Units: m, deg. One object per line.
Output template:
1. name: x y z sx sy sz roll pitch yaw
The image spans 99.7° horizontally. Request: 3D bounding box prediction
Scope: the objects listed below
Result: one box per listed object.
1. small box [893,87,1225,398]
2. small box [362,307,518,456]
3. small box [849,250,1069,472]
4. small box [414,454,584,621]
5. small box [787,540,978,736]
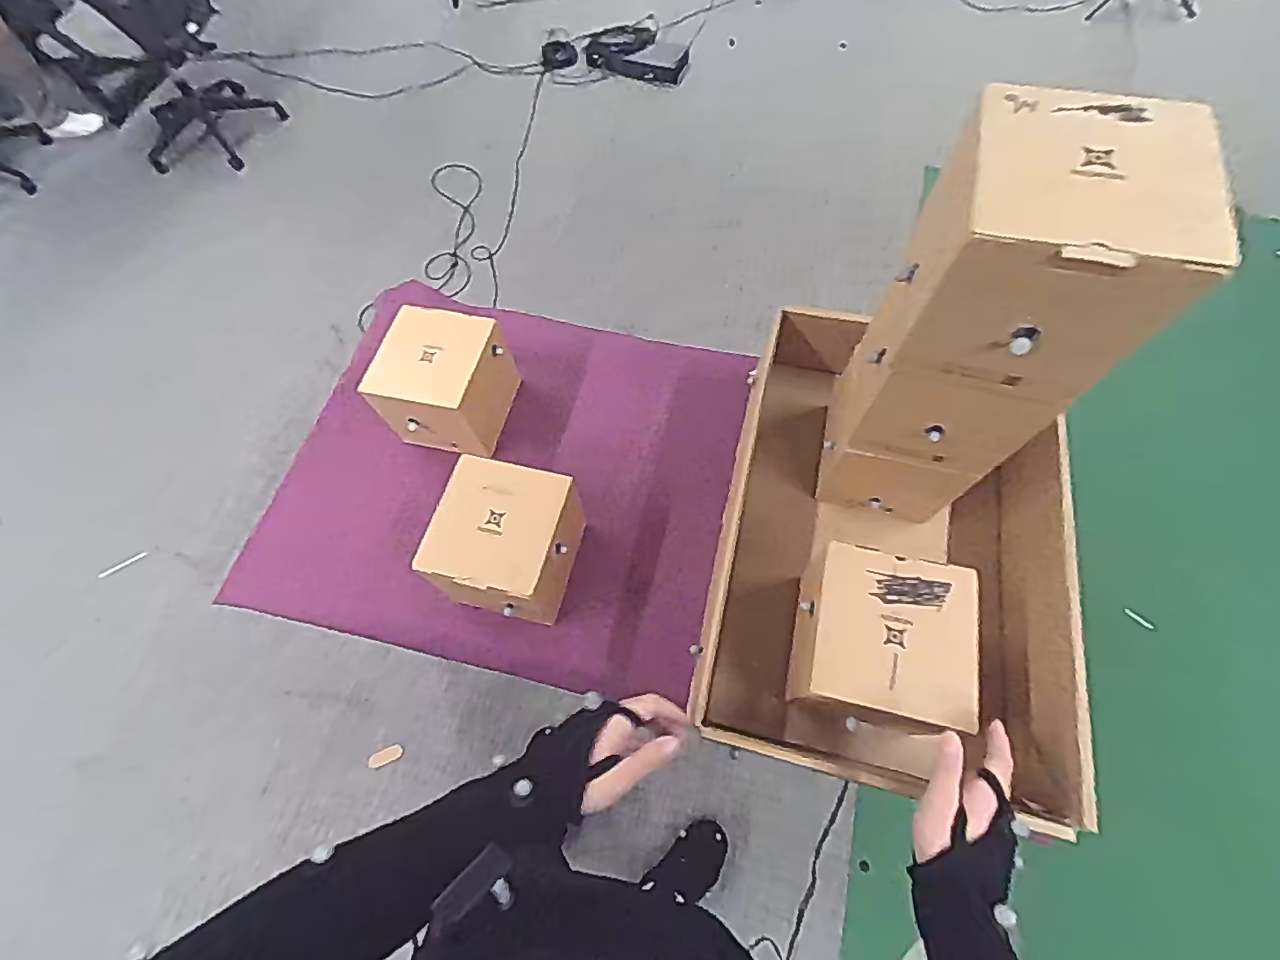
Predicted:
1. small box: 0.340 -0.196 0.474 0.168 0.176 0.179 14 68 10
2. small box: -0.321 -0.160 0.913 0.168 0.176 0.179 11 65 8
3. small box: 0.354 -0.130 0.623 0.168 0.176 0.179 14 67 10
4. small box: -0.187 0.091 0.785 0.168 0.176 0.179 13 64 8
5. small box: 0.282 0.196 0.655 0.168 0.176 0.179 12 66 10
